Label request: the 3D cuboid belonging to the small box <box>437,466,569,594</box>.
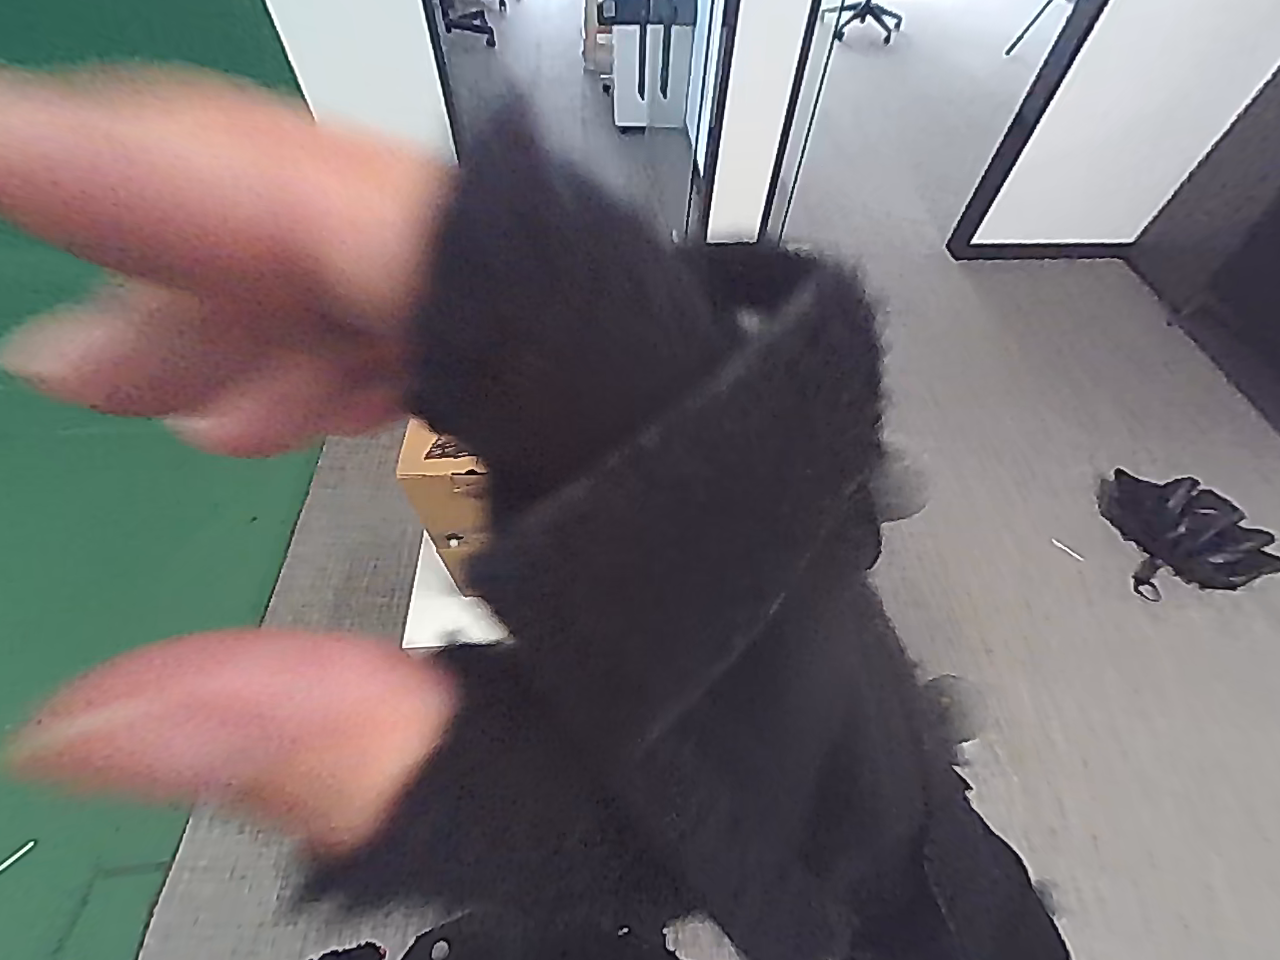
[{"bbox_3d":[-0.201,0.060,0.839,0.168,0.176,0.179,-3,56,-4],"label":"small box"}]
